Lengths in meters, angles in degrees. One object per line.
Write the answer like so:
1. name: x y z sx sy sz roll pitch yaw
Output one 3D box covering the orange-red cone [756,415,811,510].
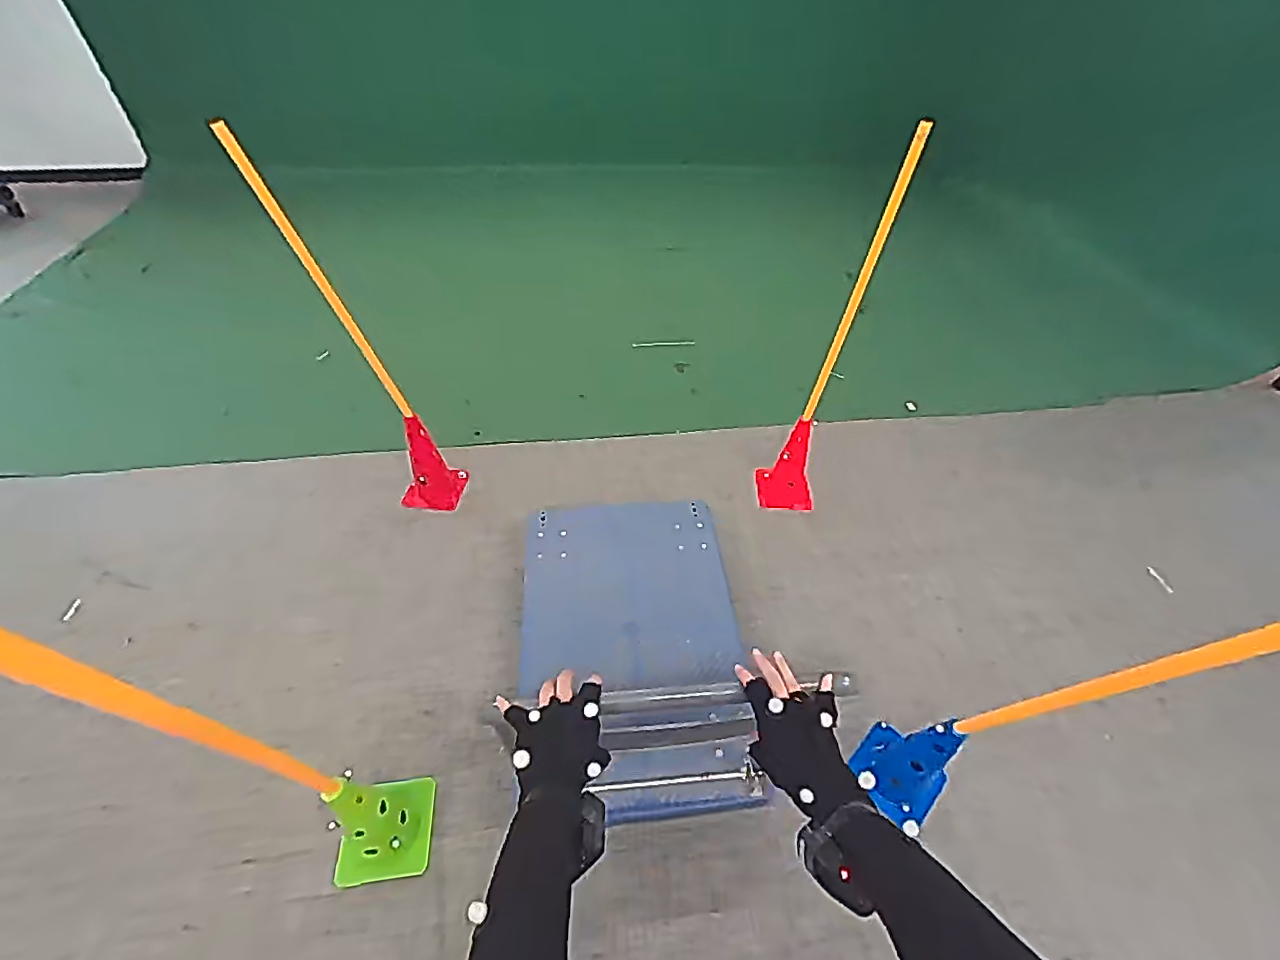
1. orange-red cone: 0.543 -0.081 1.916 0.198 0.360 0.199 4 48 2
